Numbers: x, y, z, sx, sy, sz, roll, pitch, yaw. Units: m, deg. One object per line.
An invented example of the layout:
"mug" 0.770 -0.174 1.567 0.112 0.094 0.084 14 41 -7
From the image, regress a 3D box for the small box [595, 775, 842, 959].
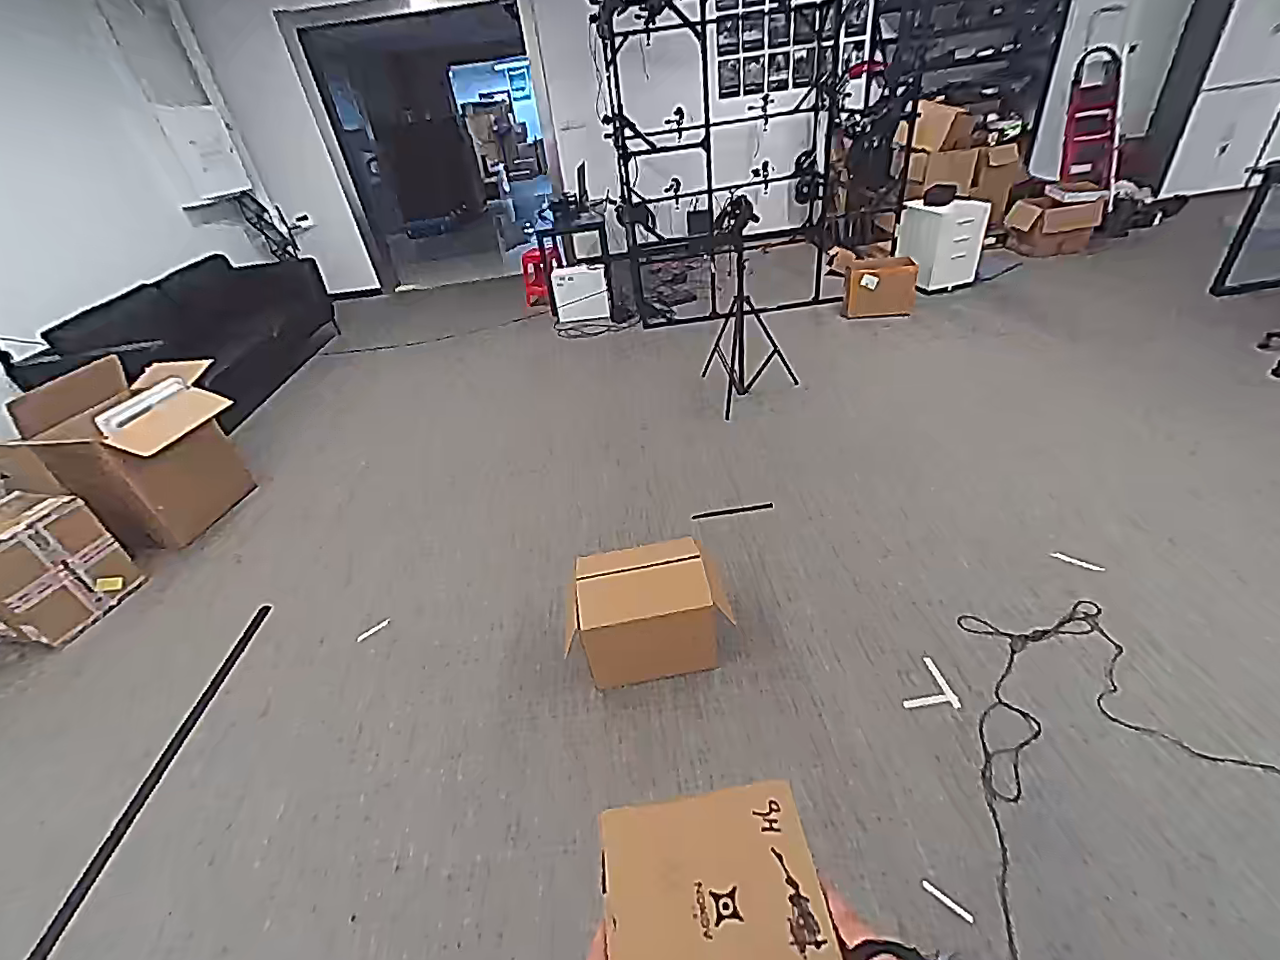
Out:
"small box" 0.062 0.389 0.476 0.179 0.176 0.168 -8 42 -3
